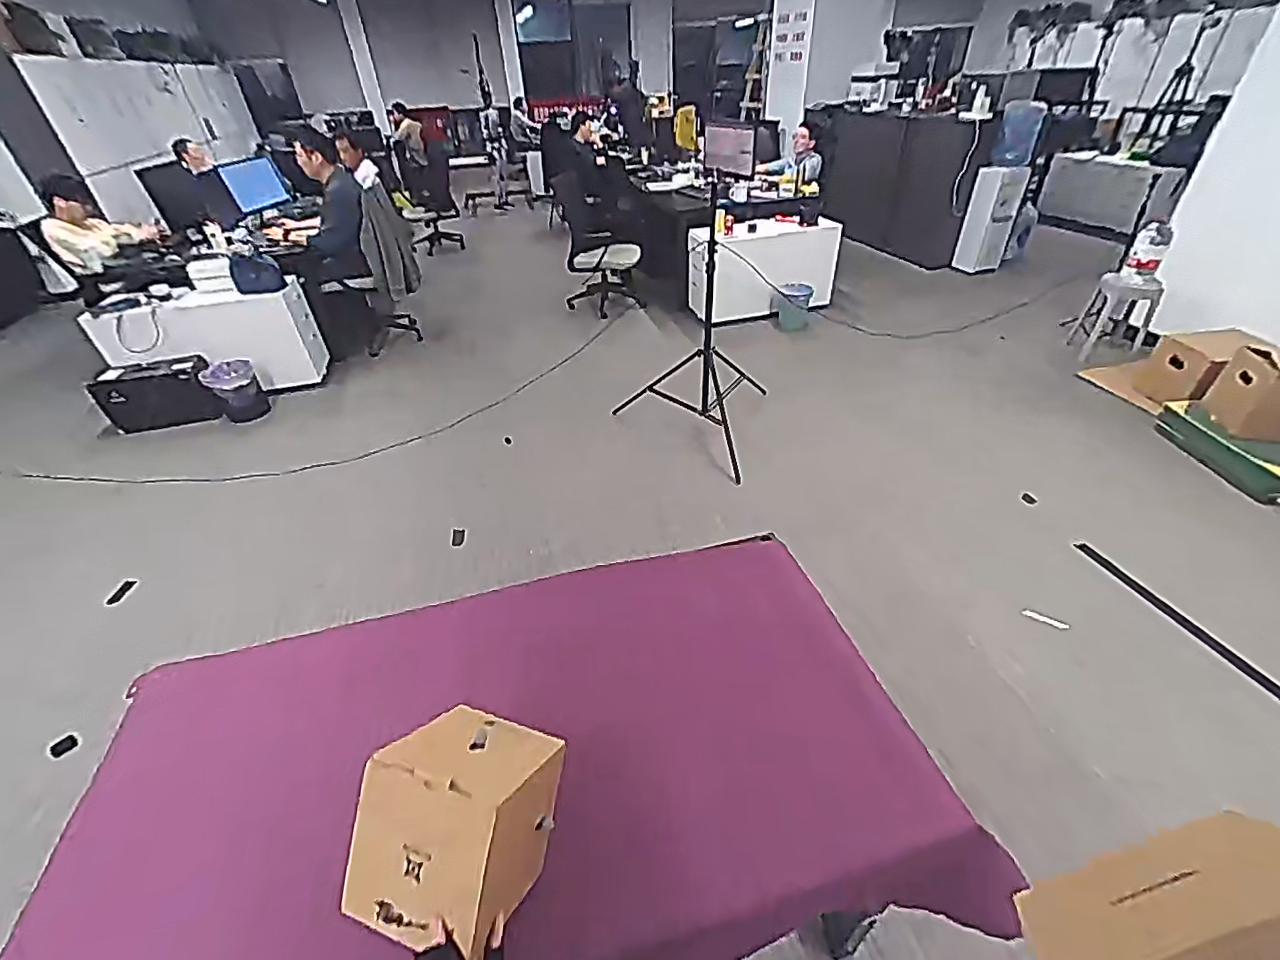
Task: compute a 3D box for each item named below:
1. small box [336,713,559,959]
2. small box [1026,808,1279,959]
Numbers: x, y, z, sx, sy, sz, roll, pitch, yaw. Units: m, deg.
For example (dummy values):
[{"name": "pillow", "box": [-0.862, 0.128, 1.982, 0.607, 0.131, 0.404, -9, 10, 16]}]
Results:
[{"name": "small box", "box": [-0.211, 0.402, 0.635, 0.168, 0.179, 0.176, 11, 0, 18]}, {"name": "small box", "box": [0.341, 0.300, 0.278, 0.168, 0.179, 0.176, -34, 58, 14]}]
